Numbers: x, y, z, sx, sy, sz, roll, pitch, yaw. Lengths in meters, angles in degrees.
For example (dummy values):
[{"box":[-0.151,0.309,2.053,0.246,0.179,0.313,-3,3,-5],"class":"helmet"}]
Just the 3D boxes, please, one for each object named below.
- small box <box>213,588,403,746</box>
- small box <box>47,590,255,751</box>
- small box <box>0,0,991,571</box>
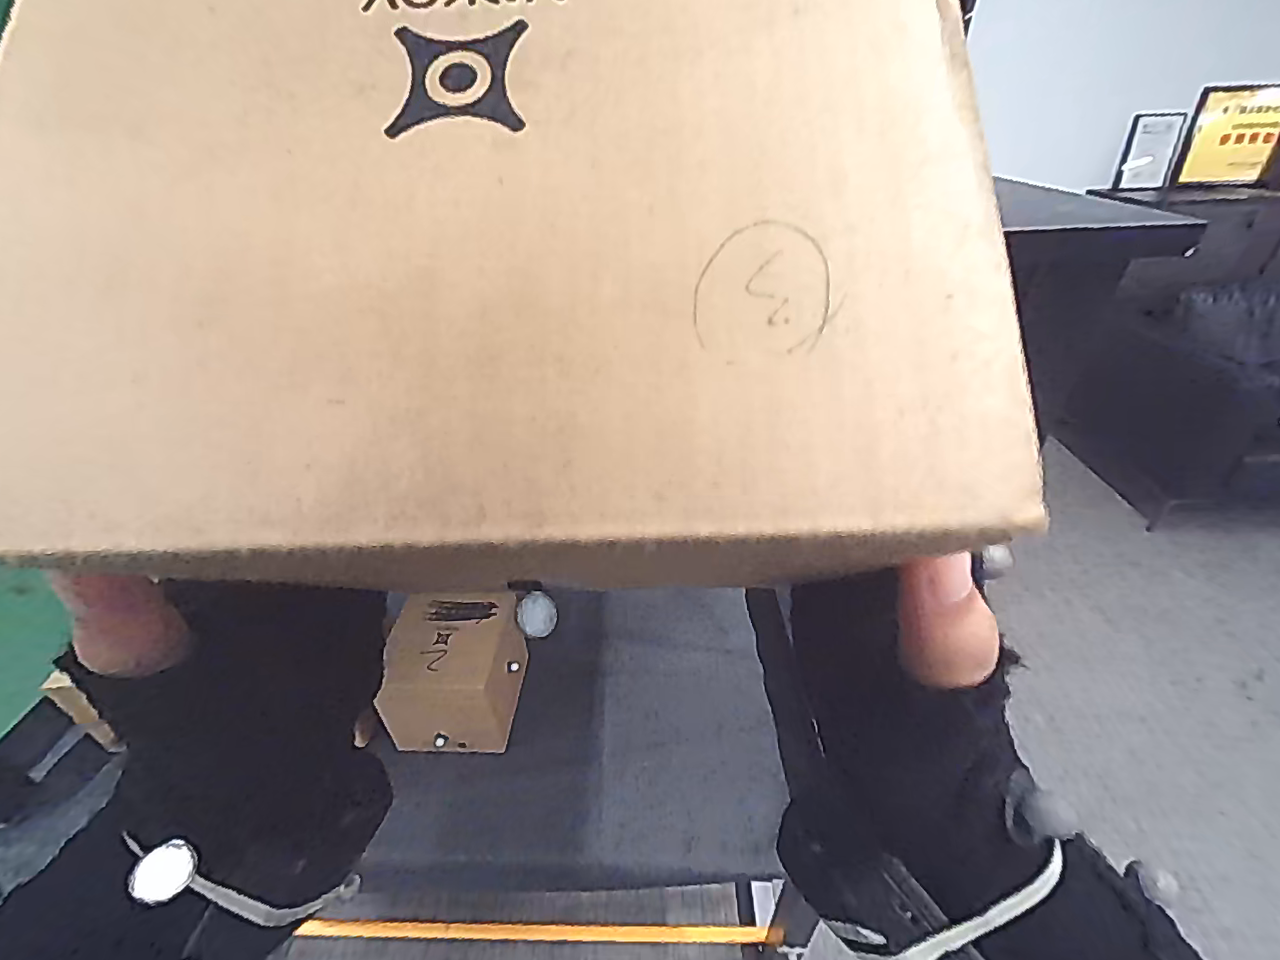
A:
[{"box":[-0.494,0.290,0.842,0.168,0.176,0.179,0,34,2],"class":"small box"},{"box":[-0.721,0.293,0.842,0.168,0.176,0.179,-2,35,0],"class":"small box"},{"box":[-0.028,-0.061,0.177,0.168,0.176,0.179,-1,76,2],"class":"small box"}]
